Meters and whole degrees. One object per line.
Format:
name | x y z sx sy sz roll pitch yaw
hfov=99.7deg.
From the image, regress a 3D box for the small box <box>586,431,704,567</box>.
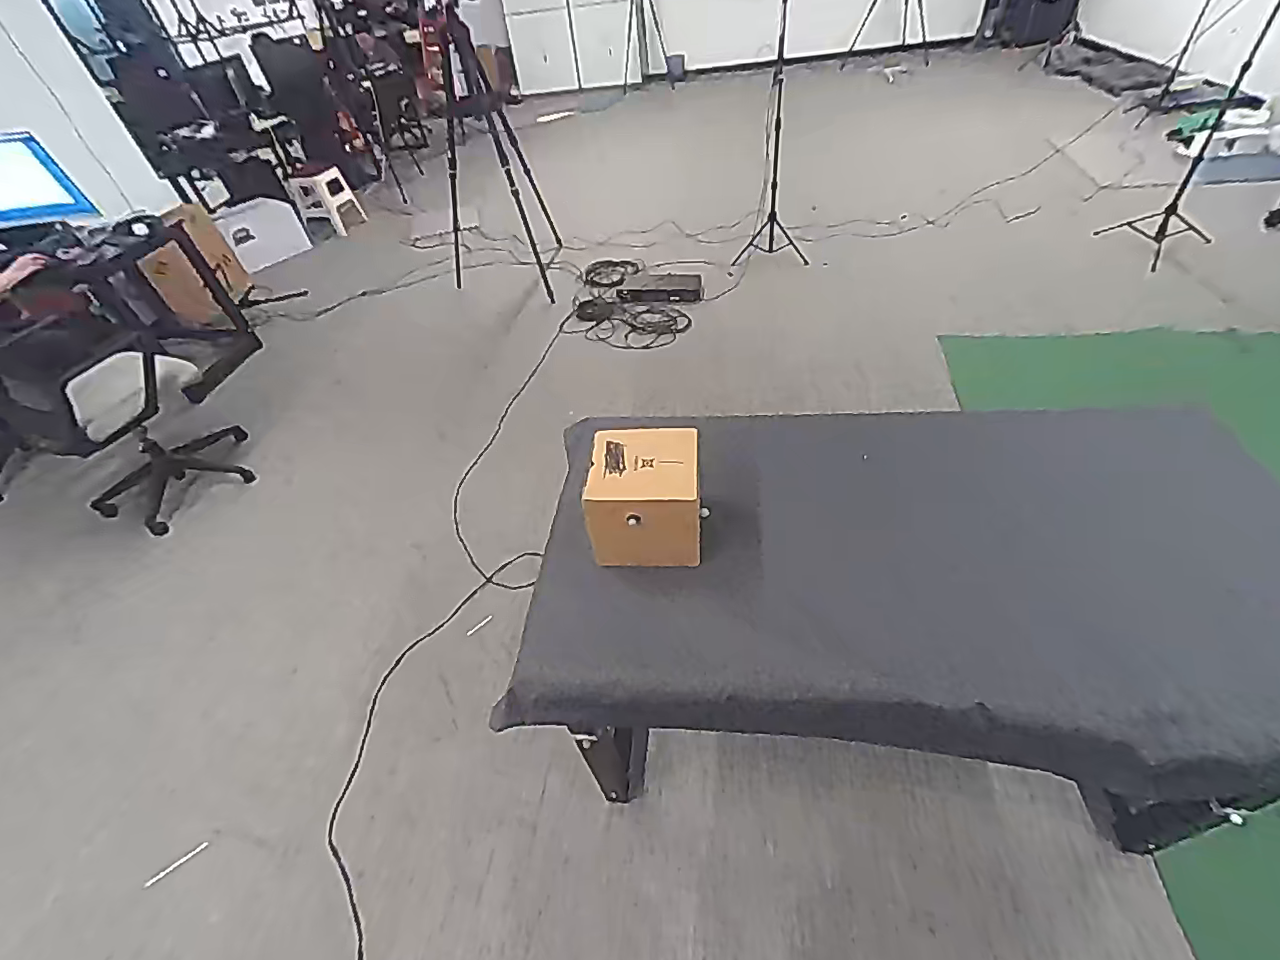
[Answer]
small box | 0.017 0.034 0.918 0.179 0.176 0.168 -1 45 7
